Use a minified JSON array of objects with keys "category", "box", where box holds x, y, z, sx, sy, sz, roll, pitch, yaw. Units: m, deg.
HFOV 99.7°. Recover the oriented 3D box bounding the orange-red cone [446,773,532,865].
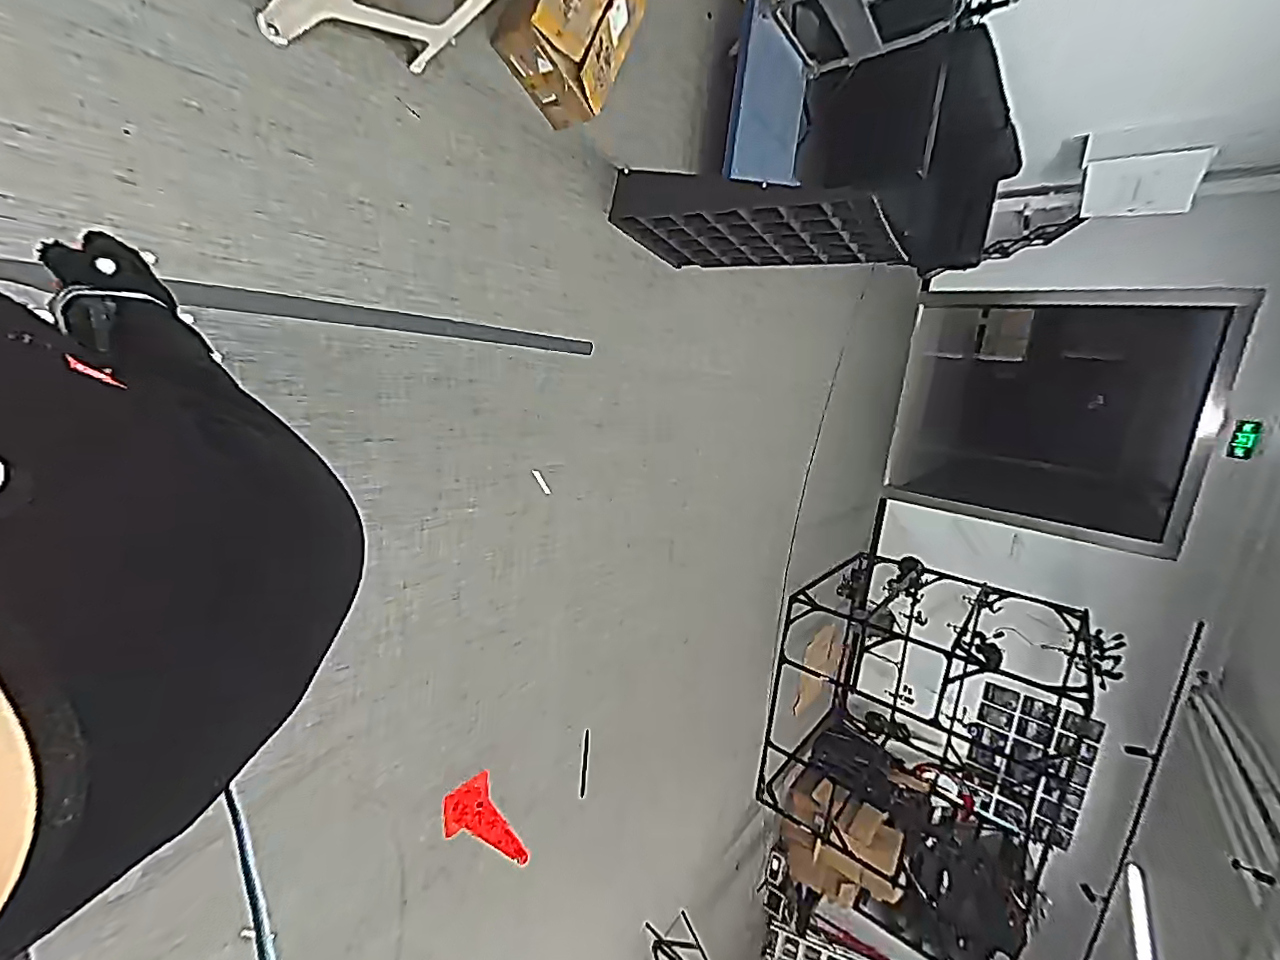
[{"category":"orange-red cone","box":[-0.531,1.296,1.995,0.198,0.360,0.199,-15,112,-50]}]
